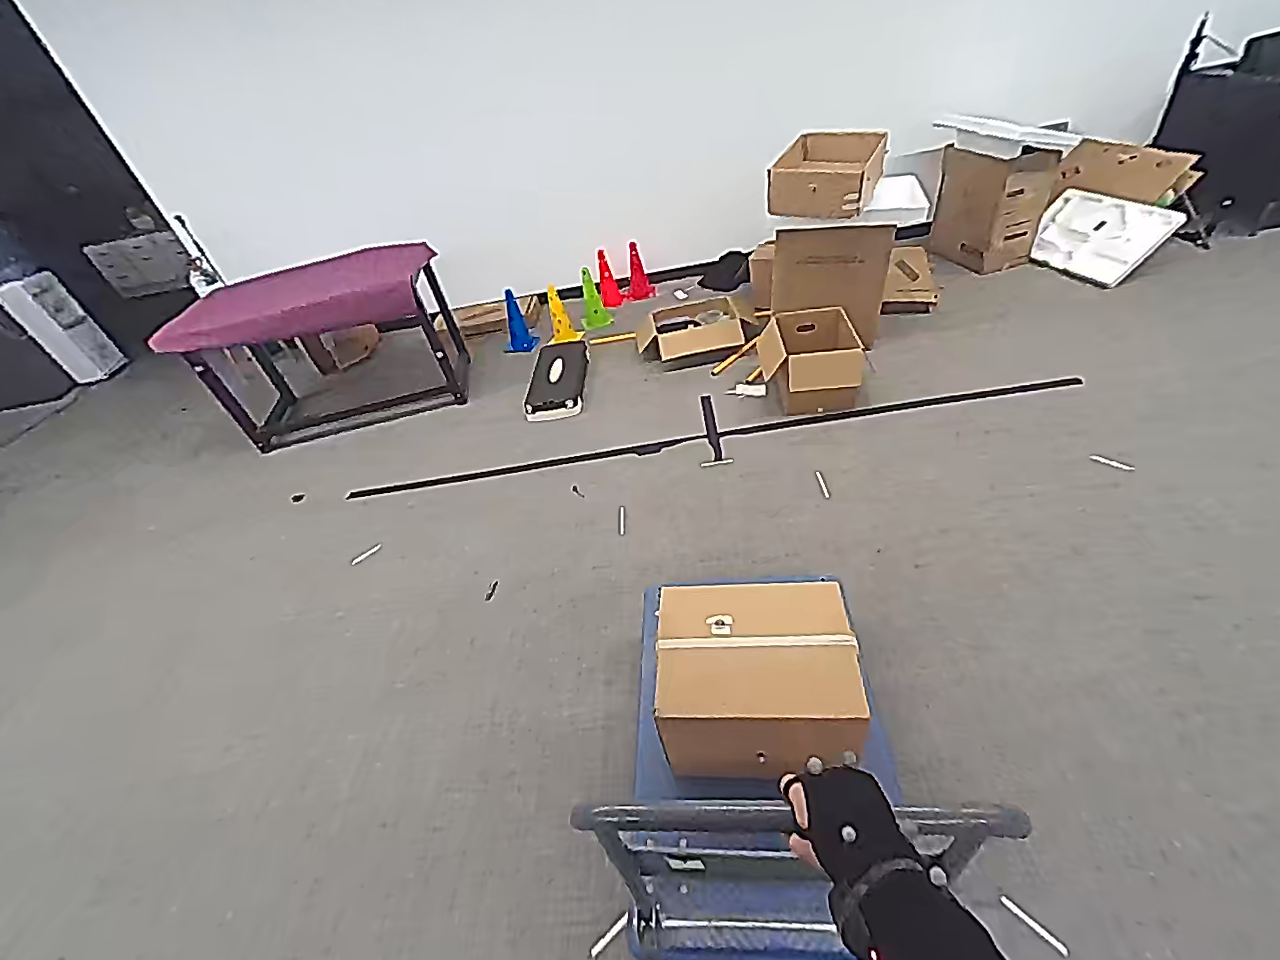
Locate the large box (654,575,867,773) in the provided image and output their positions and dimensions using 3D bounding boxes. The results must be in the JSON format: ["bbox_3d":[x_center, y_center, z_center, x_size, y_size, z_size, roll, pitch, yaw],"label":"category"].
[{"bbox_3d":[0.258,0.443,1.222,0.408,0.320,0.320,-5,40,10],"label":"large box"}]
